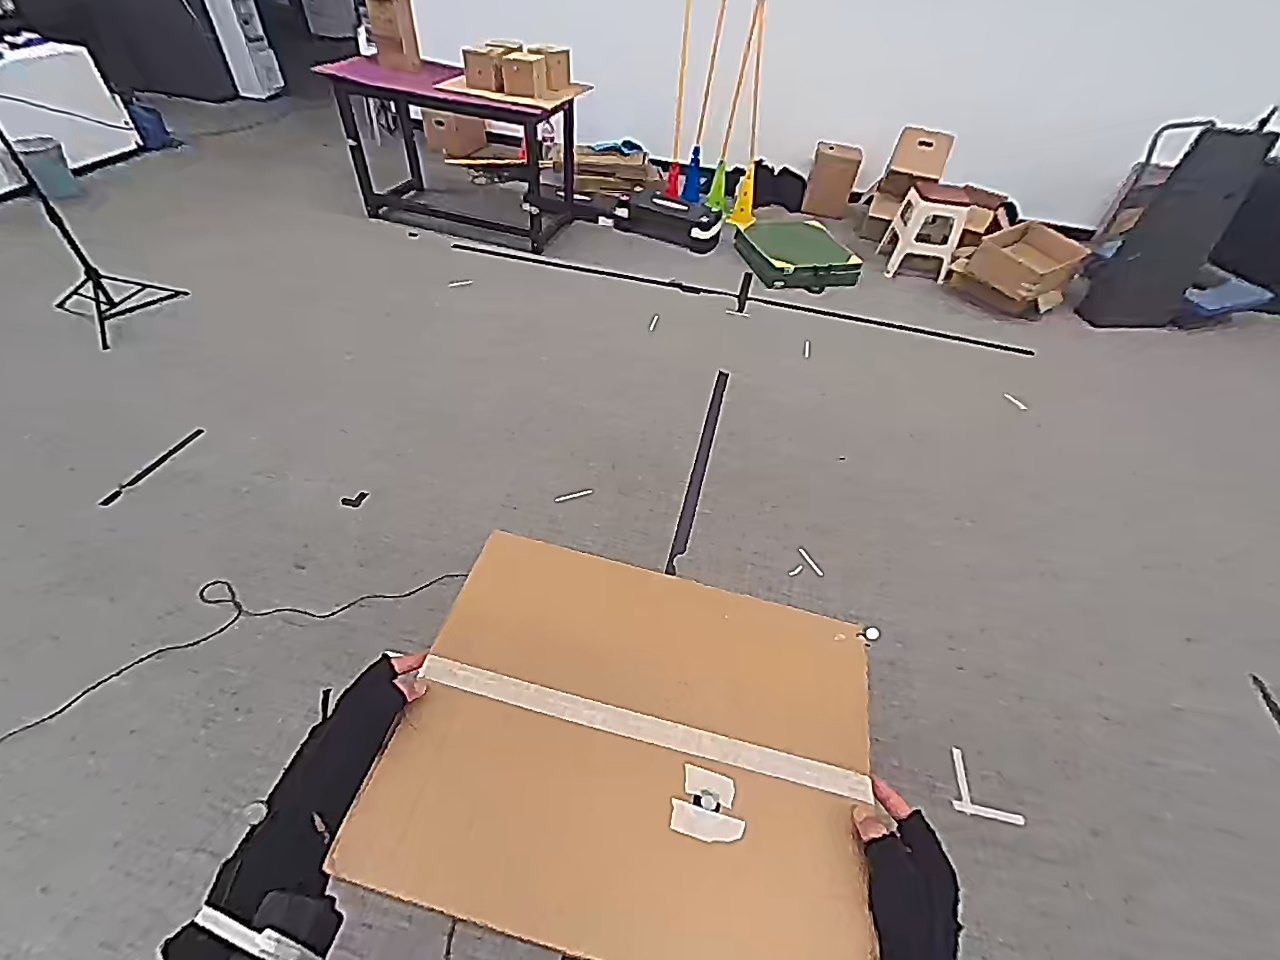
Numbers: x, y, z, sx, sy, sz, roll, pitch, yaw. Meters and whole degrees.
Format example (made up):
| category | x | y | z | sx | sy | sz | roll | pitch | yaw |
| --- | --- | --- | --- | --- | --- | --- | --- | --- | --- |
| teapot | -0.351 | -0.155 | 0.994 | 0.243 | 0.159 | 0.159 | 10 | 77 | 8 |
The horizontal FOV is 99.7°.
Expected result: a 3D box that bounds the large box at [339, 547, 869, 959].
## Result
| category | x | y | z | sx | sy | sz | roll | pitch | yaw |
| --- | --- | --- | --- | --- | --- | --- | --- | --- | --- |
| large box | -0.017 | 0.323 | 0.593 | 0.408 | 0.320 | 0.320 | 15 | 51 | 4 |
